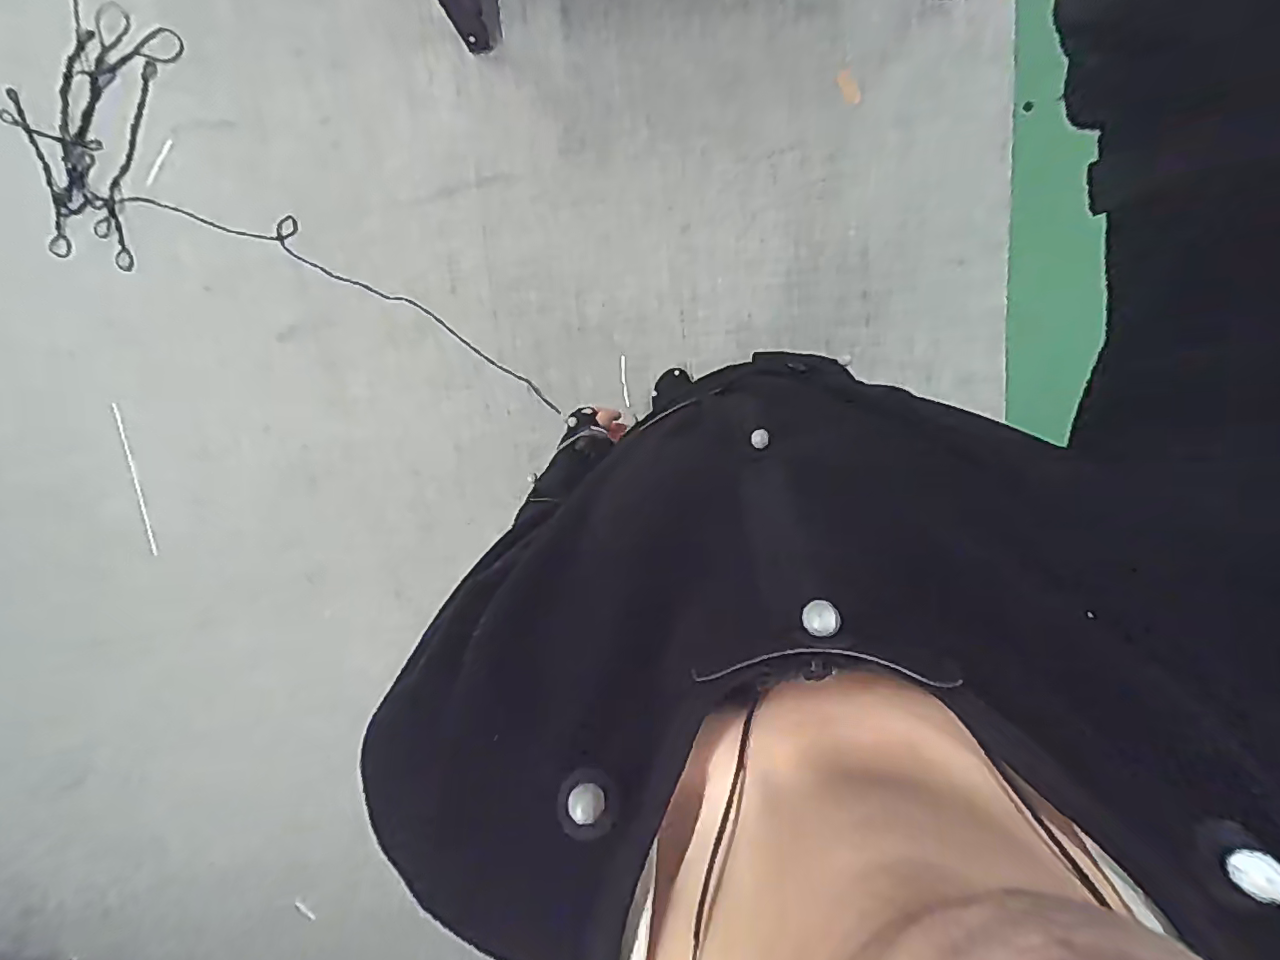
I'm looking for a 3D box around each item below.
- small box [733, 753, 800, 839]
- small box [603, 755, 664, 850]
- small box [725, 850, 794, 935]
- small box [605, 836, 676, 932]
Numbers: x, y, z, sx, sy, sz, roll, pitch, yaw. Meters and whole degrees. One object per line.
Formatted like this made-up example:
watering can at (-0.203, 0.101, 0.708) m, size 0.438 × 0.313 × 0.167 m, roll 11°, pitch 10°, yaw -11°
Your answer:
small box at (0.354, 0.910, 1.543) m, size 0.168 × 0.176 × 0.179 m, roll 1°, pitch 100°, yaw 6°
small box at (-0.016, 0.931, 1.575) m, size 0.168 × 0.176 × 0.179 m, roll -1°, pitch 100°, yaw 5°
small box at (0.348, 1.183, 1.588) m, size 0.179 × 0.176 × 0.168 m, roll 2°, pitch 100°, yaw 4°
small box at (0.007, 1.184, 1.613) m, size 0.179 × 0.176 × 0.168 m, roll 11°, pitch 100°, yaw 4°
